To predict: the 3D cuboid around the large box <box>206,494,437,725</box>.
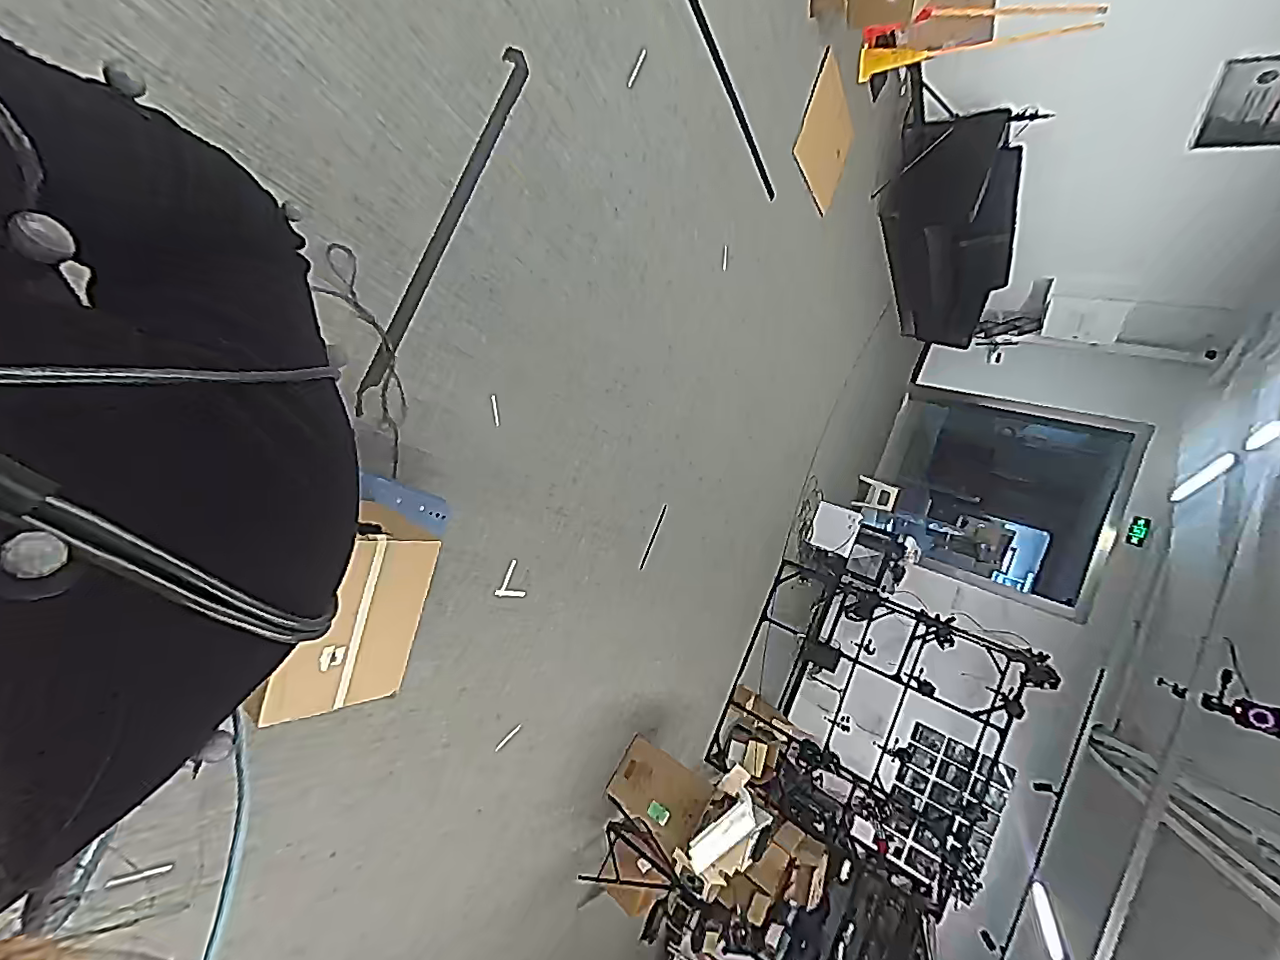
[{"bbox_3d":[-0.739,0.271,1.263,0.320,0.320,0.408,11,98,-56],"label":"large box"}]
